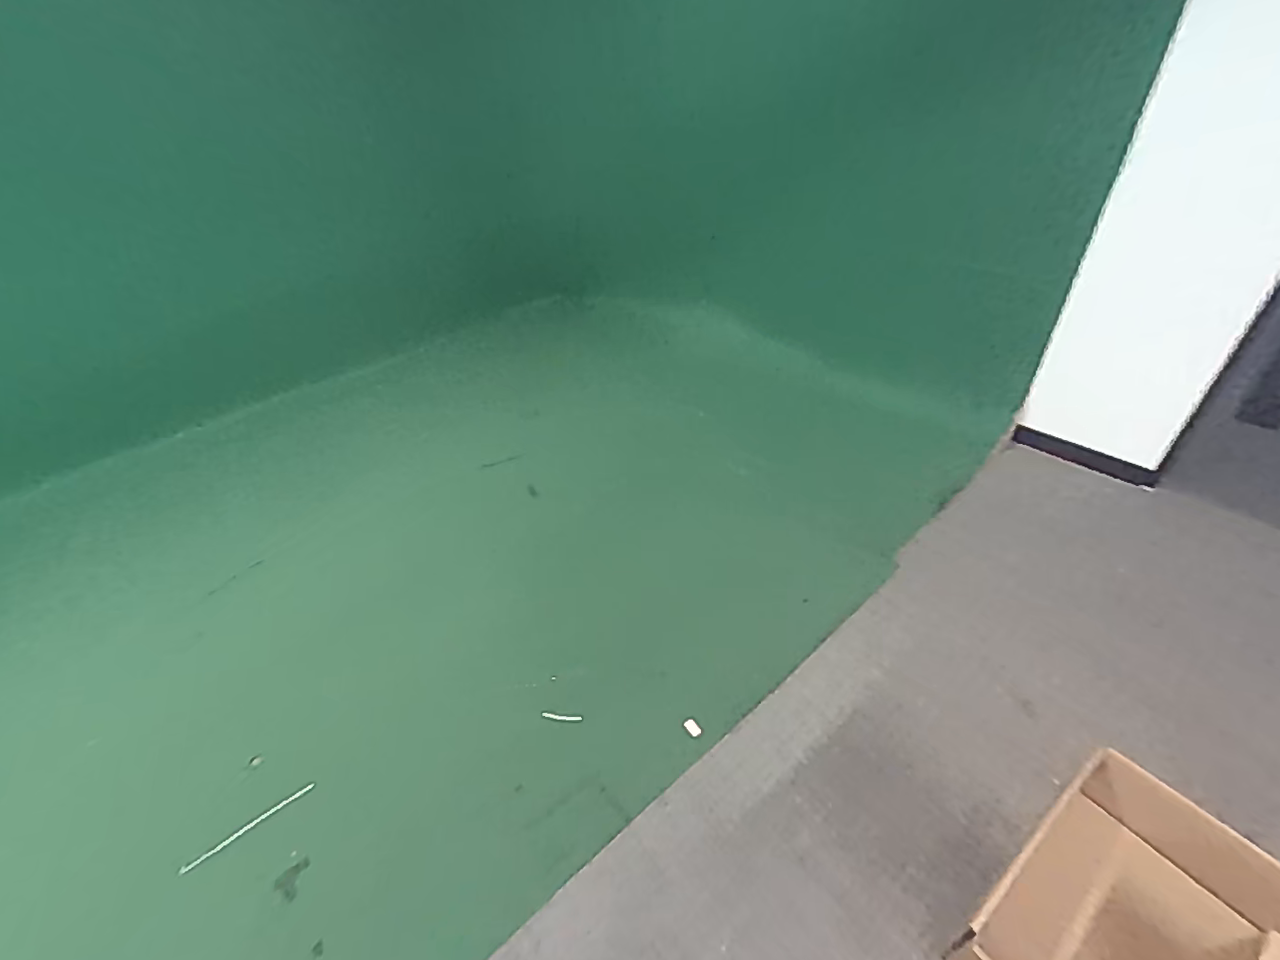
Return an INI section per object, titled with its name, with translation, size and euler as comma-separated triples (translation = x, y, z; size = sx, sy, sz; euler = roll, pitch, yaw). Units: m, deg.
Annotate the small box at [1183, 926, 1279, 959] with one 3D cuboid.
[small box]
translation = 0.746, 0.681, 0.623
size = 0.179, 0.176, 0.168
euler = -28, 46, -27
